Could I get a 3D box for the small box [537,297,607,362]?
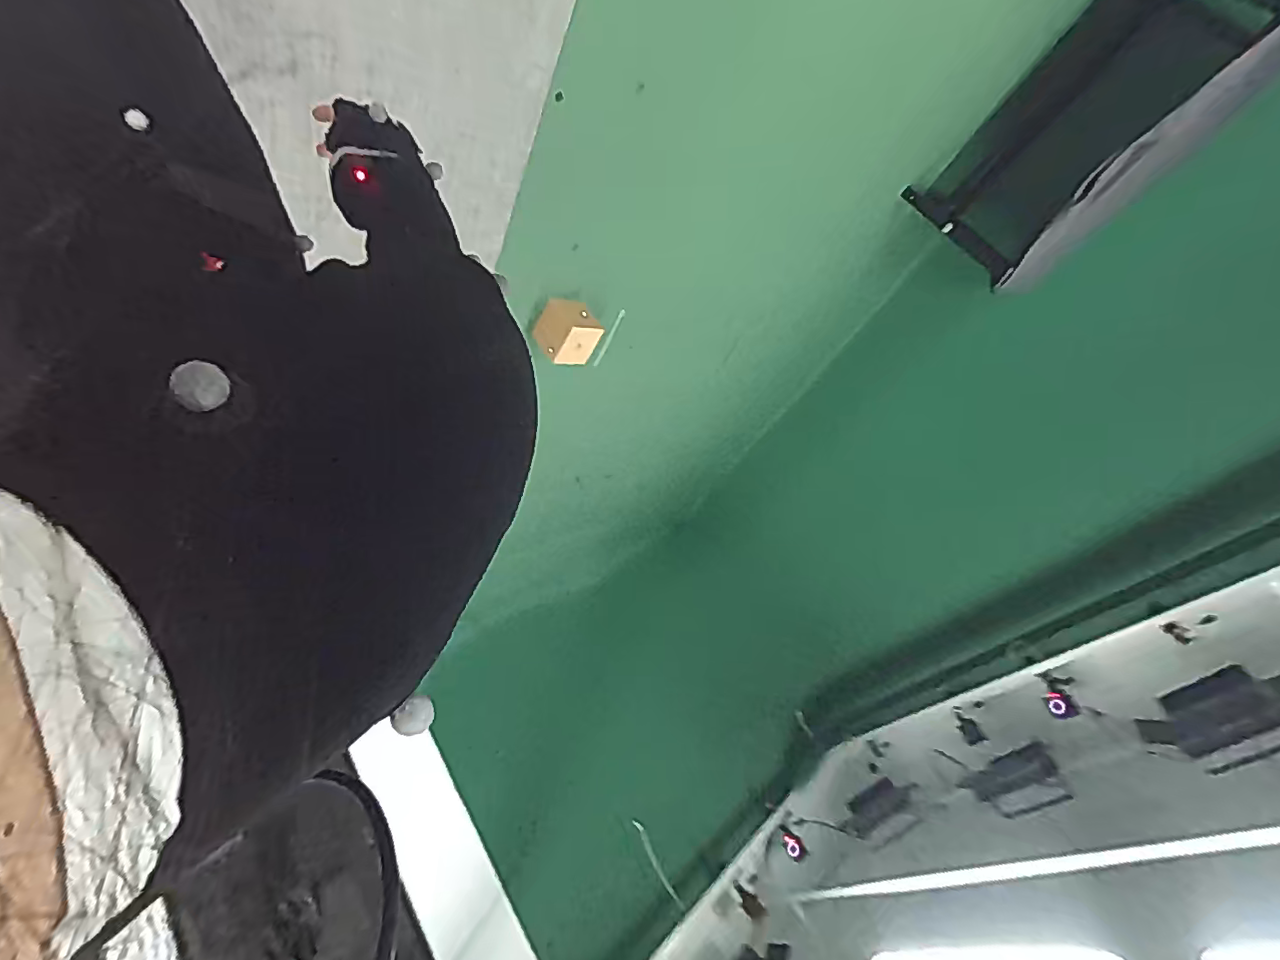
[{"bbox_3d":[-0.262,-0.567,2.040,0.168,0.176,0.179,-14,151,-47],"label":"small box"}]
